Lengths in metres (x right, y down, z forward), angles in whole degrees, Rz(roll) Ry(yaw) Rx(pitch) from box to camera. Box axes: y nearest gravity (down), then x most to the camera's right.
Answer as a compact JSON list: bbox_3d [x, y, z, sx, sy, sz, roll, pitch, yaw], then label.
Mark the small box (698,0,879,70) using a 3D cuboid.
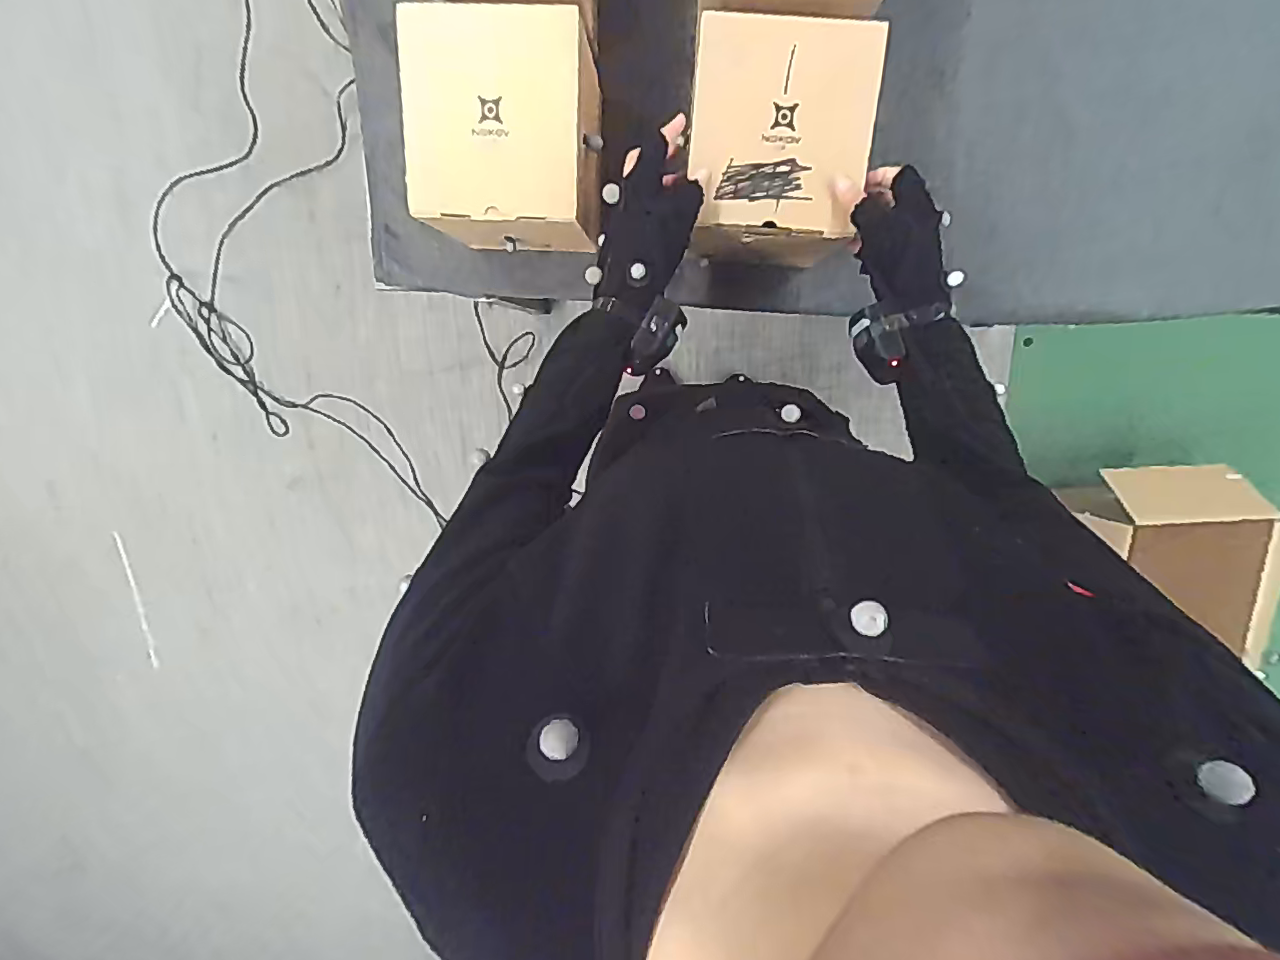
[{"bbox_3d":[0.146,-0.538,0.518,0.168,0.176,0.179,3,104,2],"label":"small box"}]
